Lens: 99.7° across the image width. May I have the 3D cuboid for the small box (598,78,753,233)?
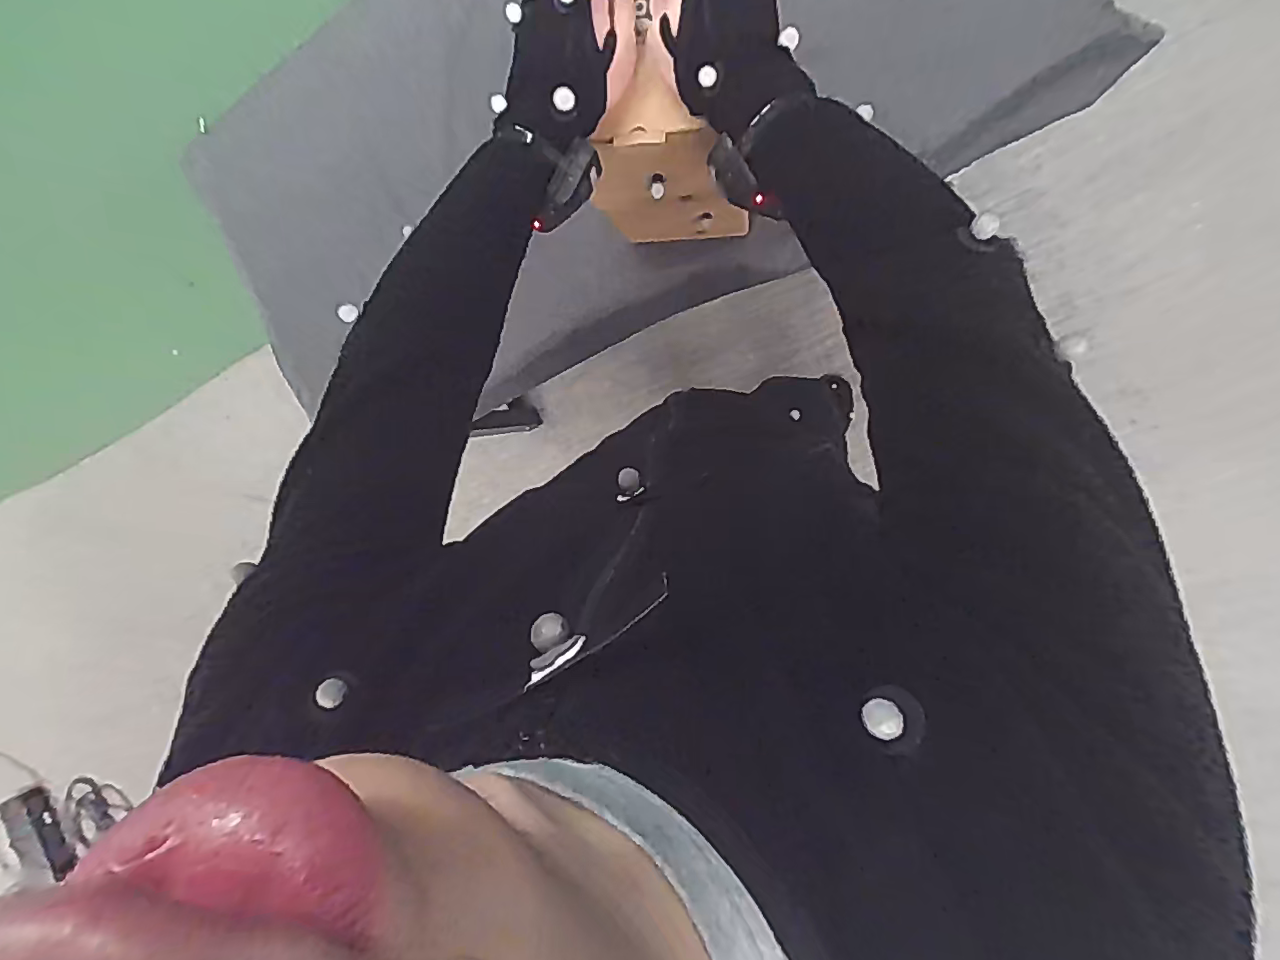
[{"bbox_3d":[0.050,-0.415,0.661,0.168,0.176,0.179,2,97,12],"label":"small box"}]

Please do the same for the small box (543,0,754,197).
[{"bbox_3d":[0.018,-0.380,0.505,0.168,0.176,0.179,2,100,12],"label":"small box"}]
